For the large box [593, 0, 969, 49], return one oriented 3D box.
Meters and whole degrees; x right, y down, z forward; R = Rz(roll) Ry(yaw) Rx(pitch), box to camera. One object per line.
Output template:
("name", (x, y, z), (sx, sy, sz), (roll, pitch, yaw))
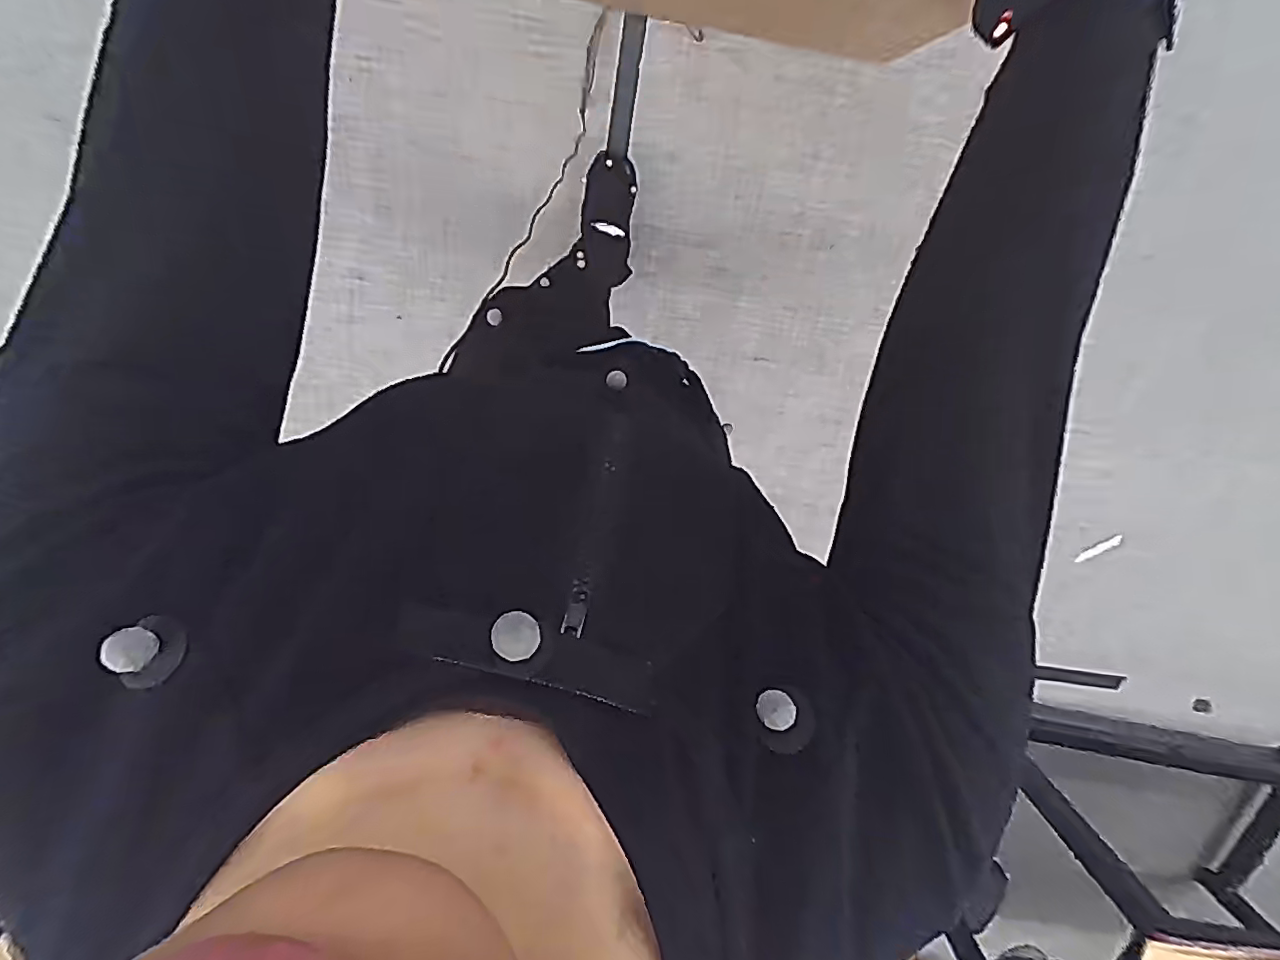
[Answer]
("large box", (0.087, -0.559, 0.391), (0.408, 0.320, 0.320), (10, 123, -1))
